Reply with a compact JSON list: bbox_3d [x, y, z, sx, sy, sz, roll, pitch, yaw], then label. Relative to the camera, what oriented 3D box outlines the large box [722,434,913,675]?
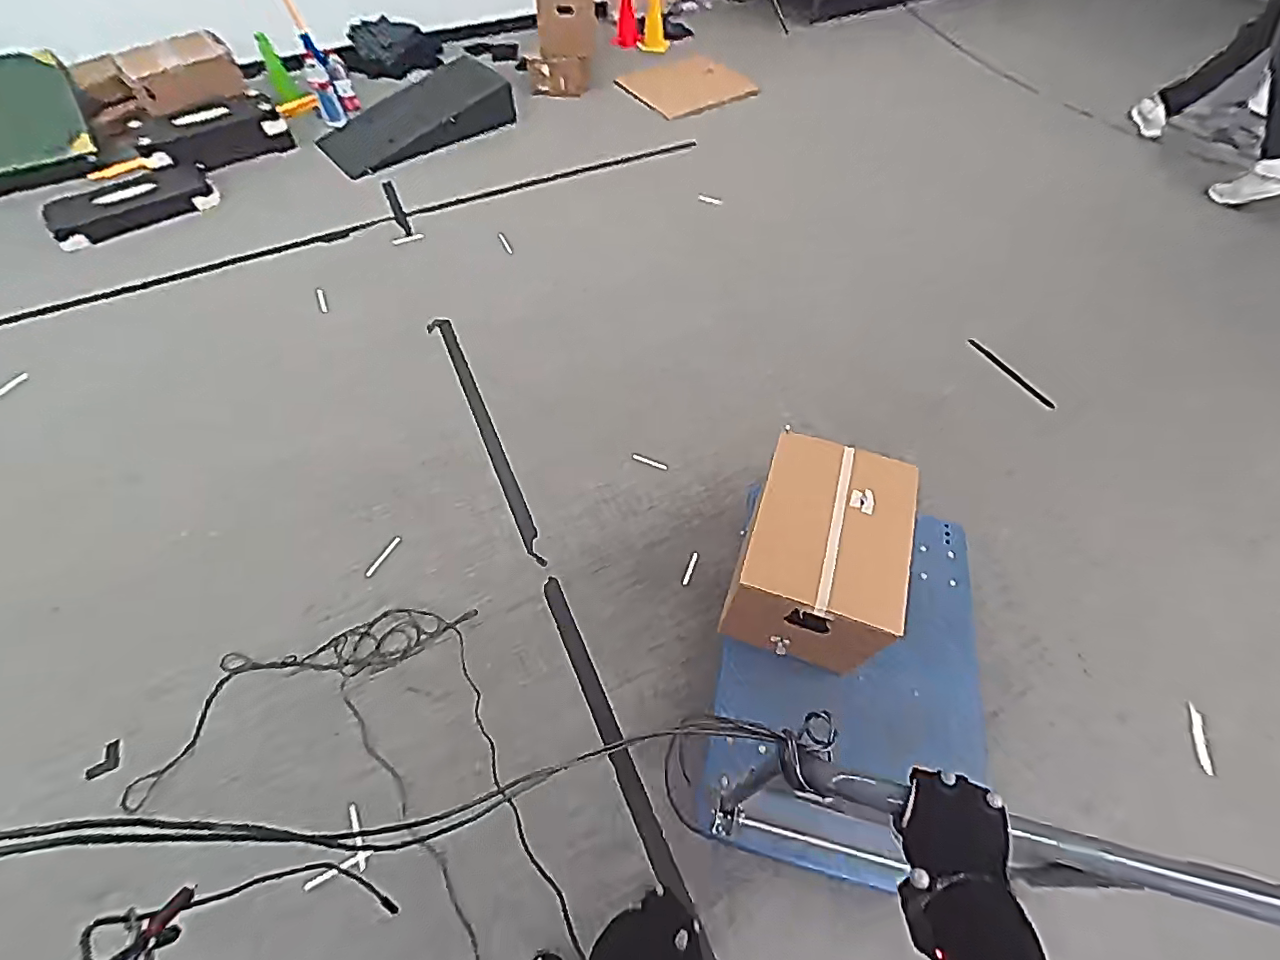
[{"bbox_3d":[0.396,0.173,1.240,0.320,0.320,0.408,17,58,9],"label":"large box"}]
